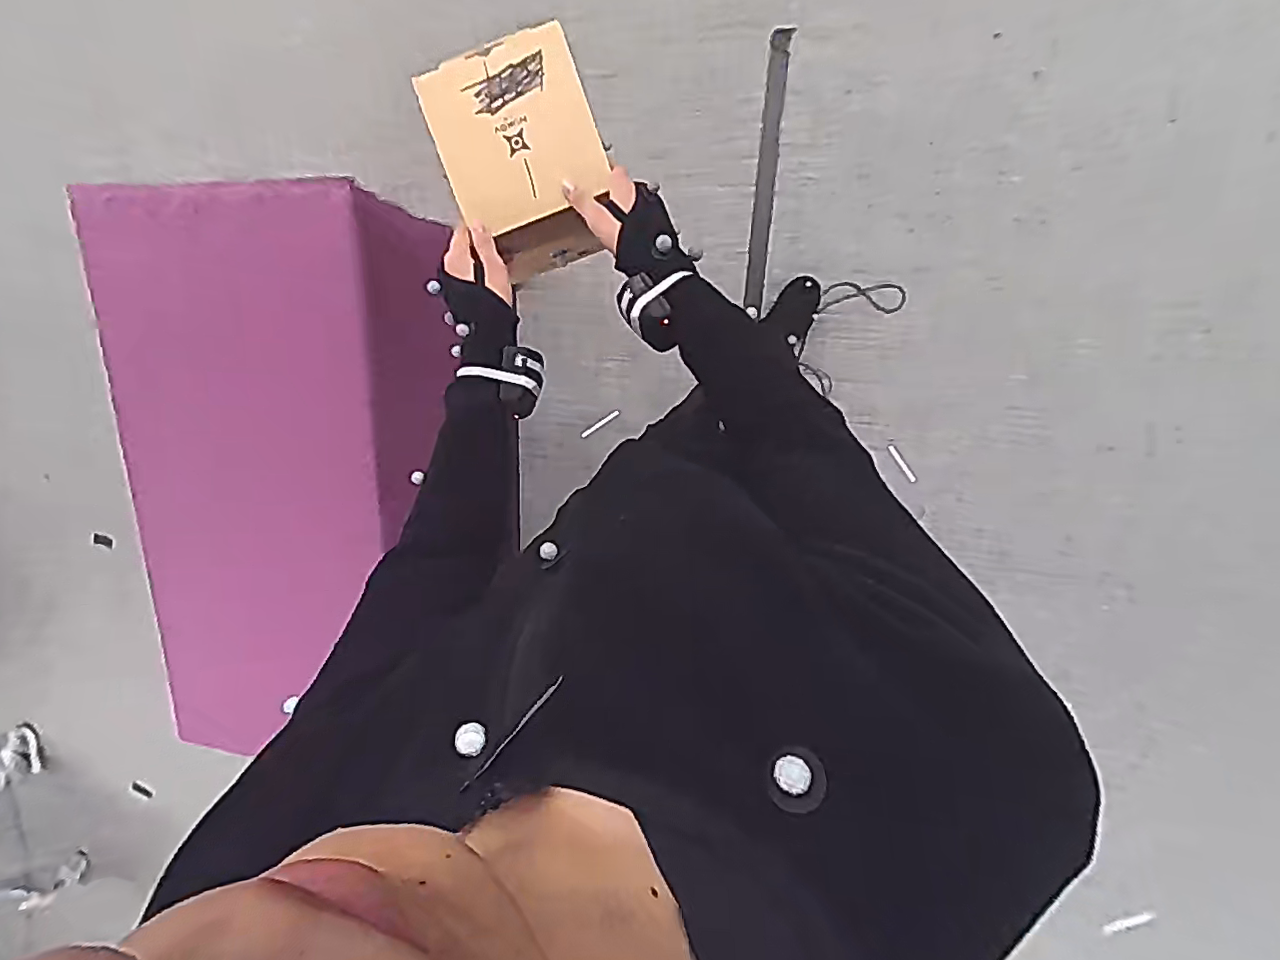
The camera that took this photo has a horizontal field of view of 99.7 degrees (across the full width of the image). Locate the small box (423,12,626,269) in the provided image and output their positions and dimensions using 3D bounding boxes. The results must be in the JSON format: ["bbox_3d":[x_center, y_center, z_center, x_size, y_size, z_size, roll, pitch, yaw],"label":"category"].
[{"bbox_3d":[-0.121,-0.379,0.639,0.168,0.176,0.179,-19,96,3],"label":"small box"}]
